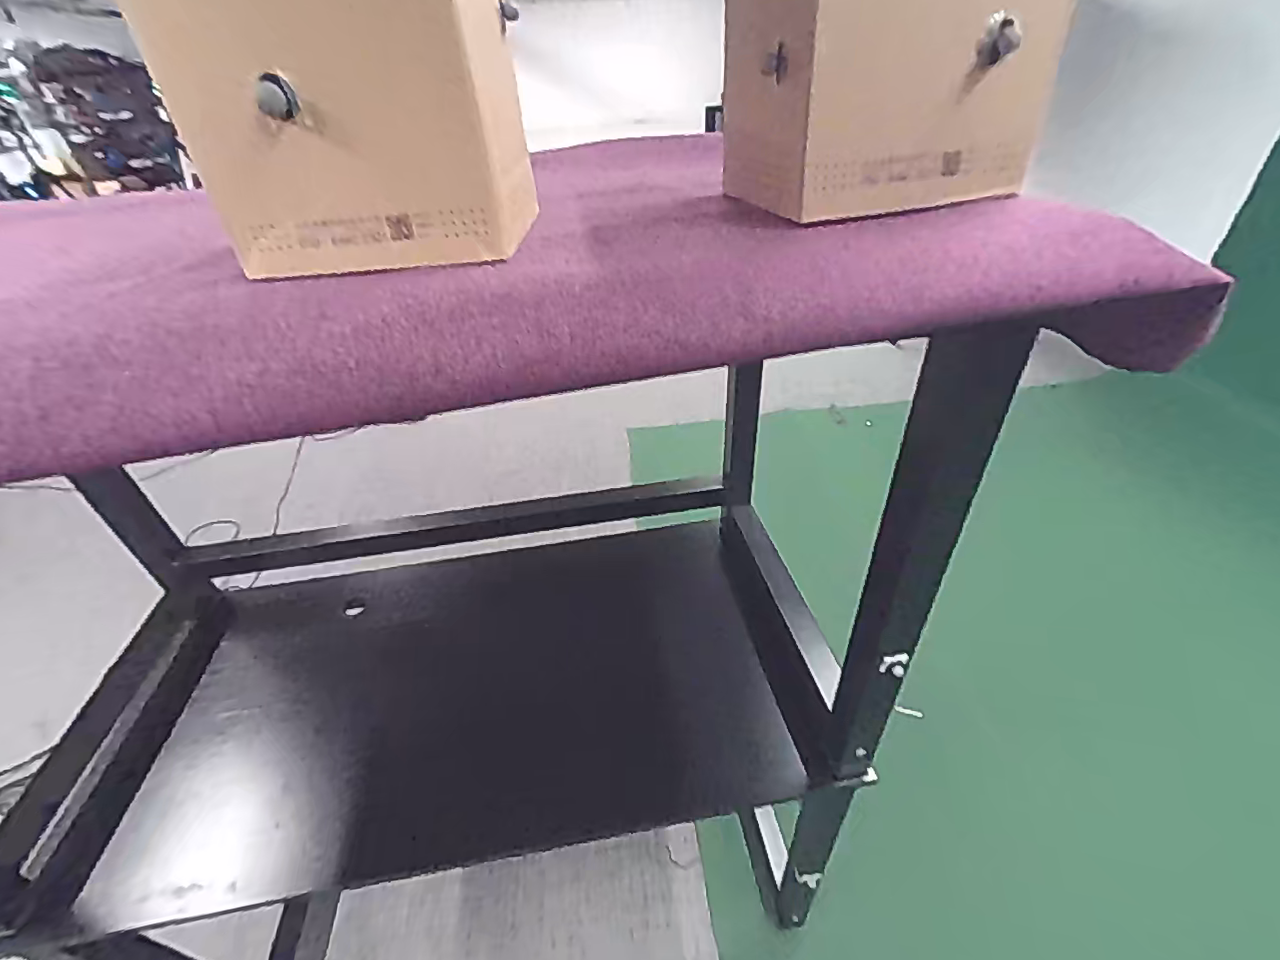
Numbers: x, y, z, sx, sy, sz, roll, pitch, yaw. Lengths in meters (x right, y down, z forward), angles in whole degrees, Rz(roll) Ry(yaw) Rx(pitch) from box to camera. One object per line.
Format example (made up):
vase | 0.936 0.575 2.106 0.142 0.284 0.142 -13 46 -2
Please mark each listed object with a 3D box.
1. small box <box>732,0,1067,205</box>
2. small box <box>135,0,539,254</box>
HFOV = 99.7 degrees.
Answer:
small box | 0.170 -0.304 0.390 0.168 0.176 0.179 -9 35 -6
small box | -0.167 -0.253 0.356 0.168 0.176 0.179 -4 35 0
